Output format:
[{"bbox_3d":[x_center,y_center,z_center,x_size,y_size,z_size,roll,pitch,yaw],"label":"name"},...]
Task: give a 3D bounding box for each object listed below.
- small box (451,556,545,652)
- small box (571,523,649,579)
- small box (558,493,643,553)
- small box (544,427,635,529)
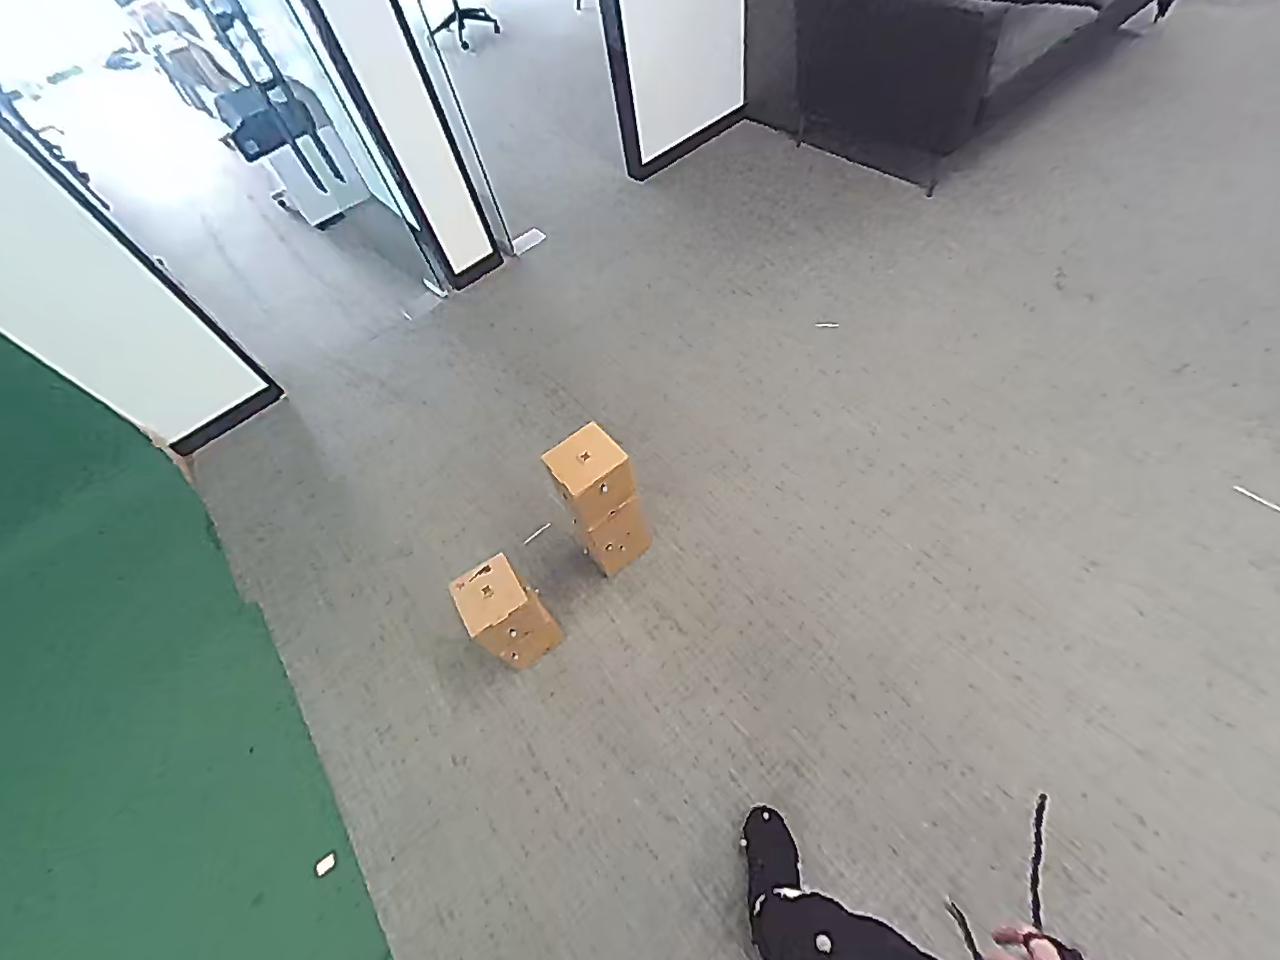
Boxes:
[{"bbox_3d":[-0.379,0.345,1.469,0.168,0.176,0.179,-31,57,-11],"label":"small box"},{"bbox_3d":[-0.090,0.183,1.725,0.179,0.176,0.168,-37,58,-15],"label":"small box"},{"bbox_3d":[-0.110,0.094,1.590,0.168,0.176,0.179,-36,57,-14],"label":"small box"},{"bbox_3d":[-0.127,-0.003,1.460,0.179,0.176,0.168,-37,58,-14],"label":"small box"}]
